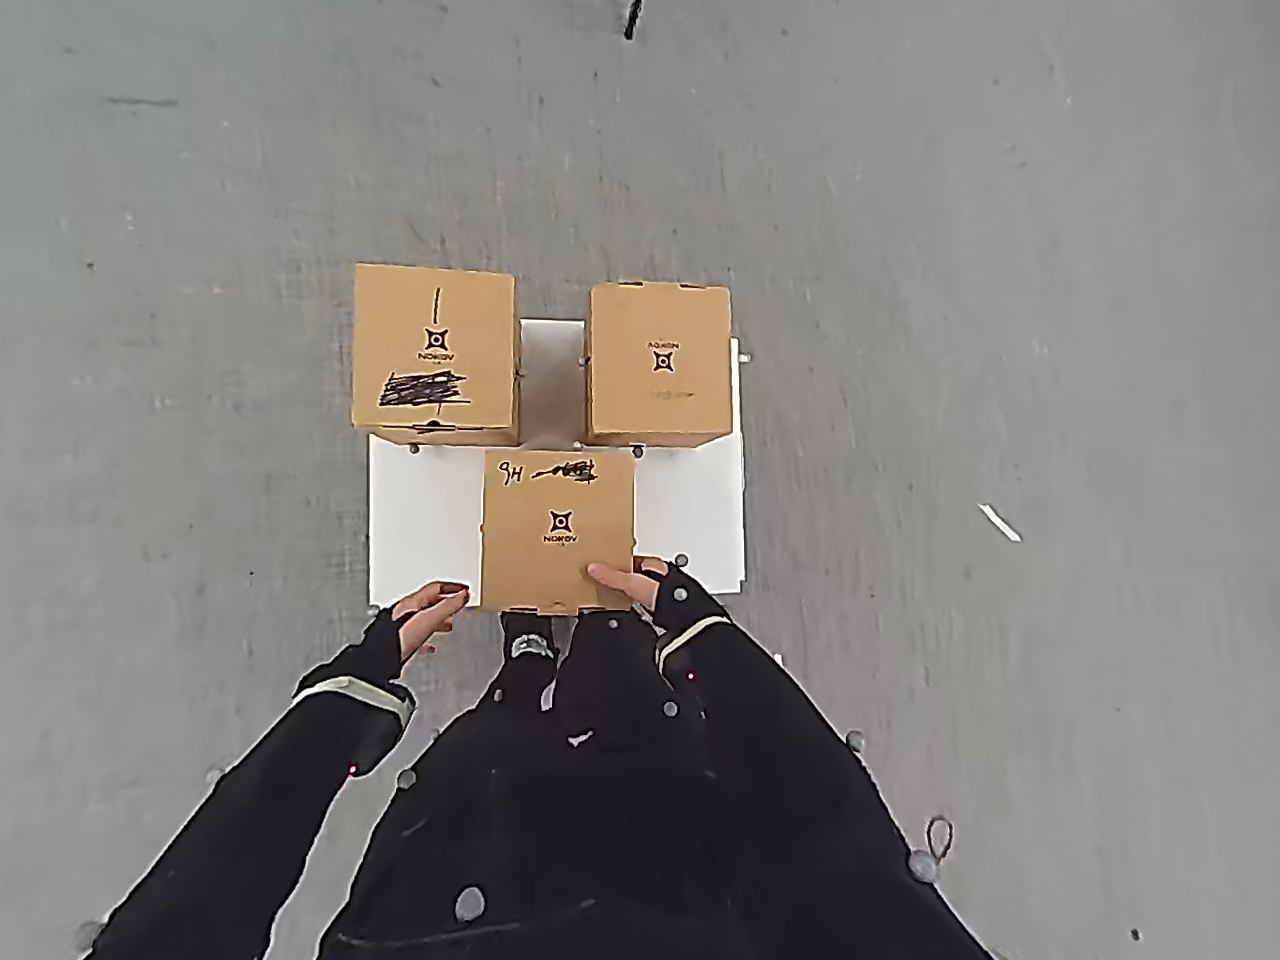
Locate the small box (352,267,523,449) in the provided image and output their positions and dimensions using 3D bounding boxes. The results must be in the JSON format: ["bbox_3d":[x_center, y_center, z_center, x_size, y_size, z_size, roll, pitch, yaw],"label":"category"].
[{"bbox_3d":[-0.231,-0.132,0.658,0.168,0.176,0.179,1,86,-10],"label":"small box"}]

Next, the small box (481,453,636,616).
[{"bbox_3d":[-0.099,0.064,0.668,0.168,0.176,0.179,1,86,-10],"label":"small box"}]

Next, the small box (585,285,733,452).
[{"bbox_3d":[0.015,-0.132,0.701,0.168,0.176,0.179,-1,88,-8],"label":"small box"}]
